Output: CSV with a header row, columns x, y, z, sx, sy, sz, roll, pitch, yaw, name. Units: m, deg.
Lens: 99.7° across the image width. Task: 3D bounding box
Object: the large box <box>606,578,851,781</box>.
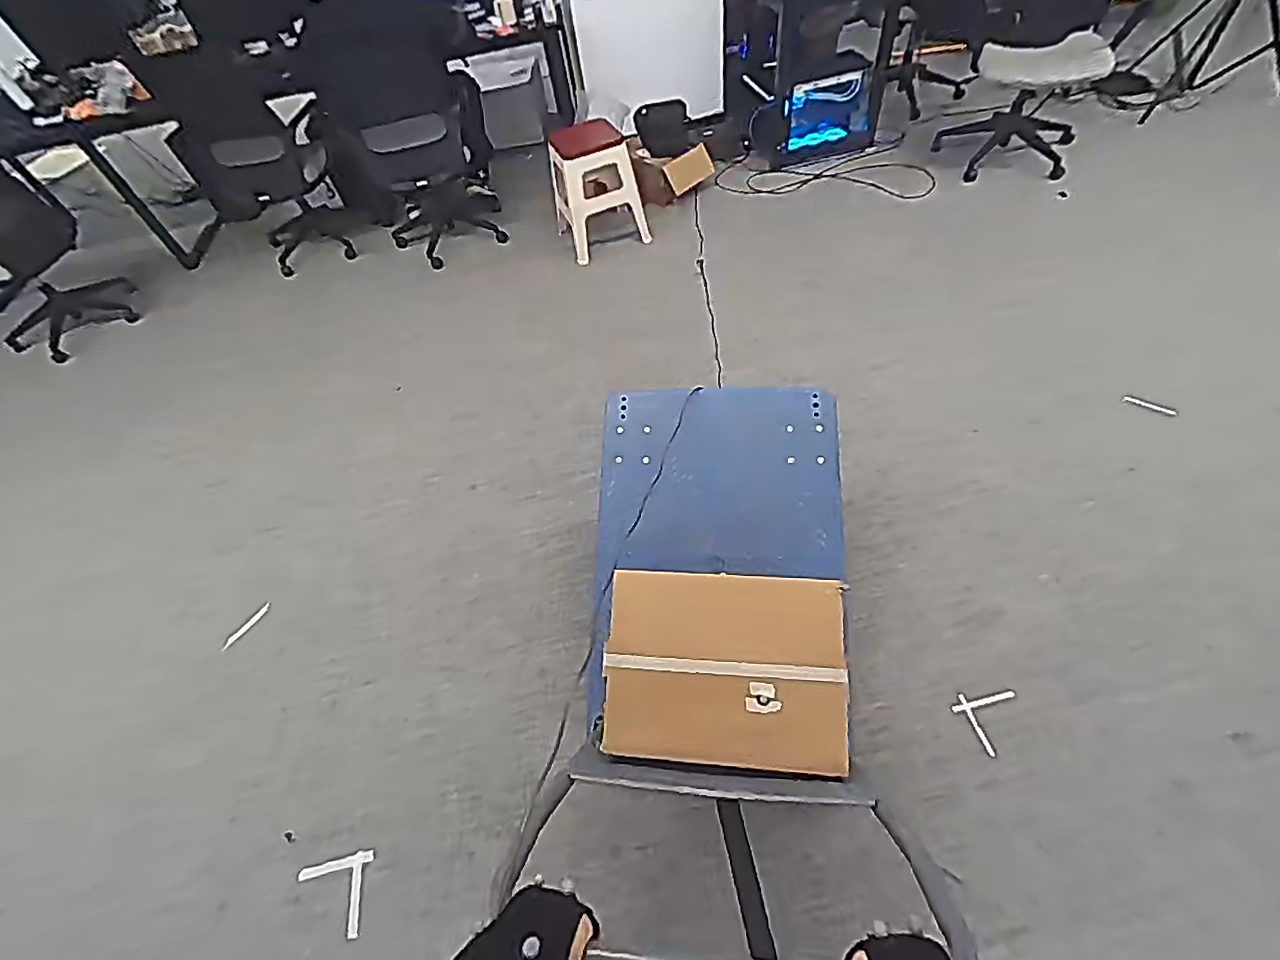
x,y,z,sx,sy,sz,roll,pitch,yaw,name
0.160,0.366,1.058,0.408,0.320,0.320,1,77,7,large box
